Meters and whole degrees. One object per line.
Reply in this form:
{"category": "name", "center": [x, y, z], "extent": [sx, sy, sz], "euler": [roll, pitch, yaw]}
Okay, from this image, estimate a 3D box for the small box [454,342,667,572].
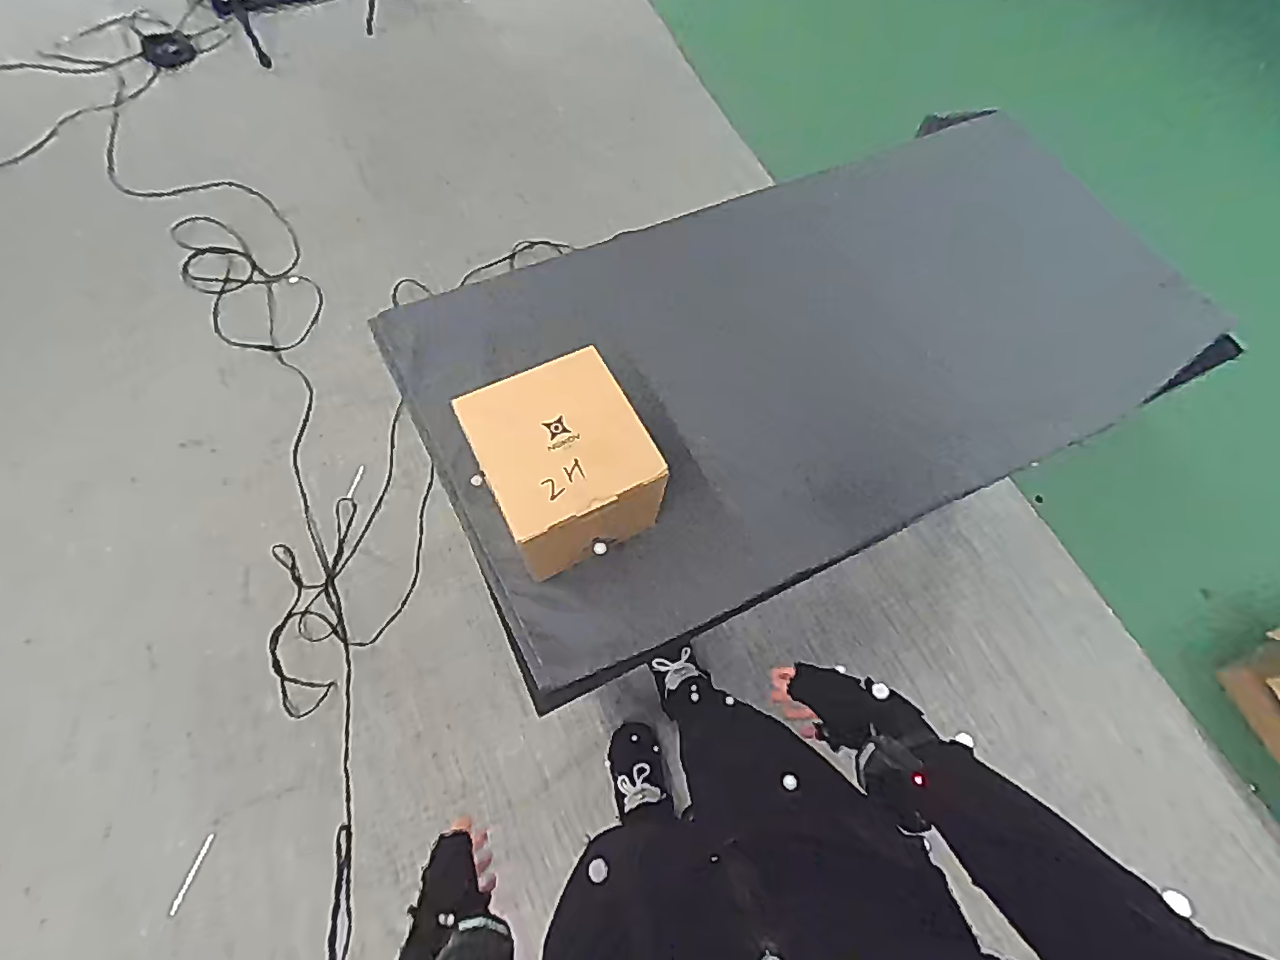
{"category": "small box", "center": [-0.089, -0.019, 0.621], "extent": [0.168, 0.176, 0.179], "euler": [-26, 71, -14]}
